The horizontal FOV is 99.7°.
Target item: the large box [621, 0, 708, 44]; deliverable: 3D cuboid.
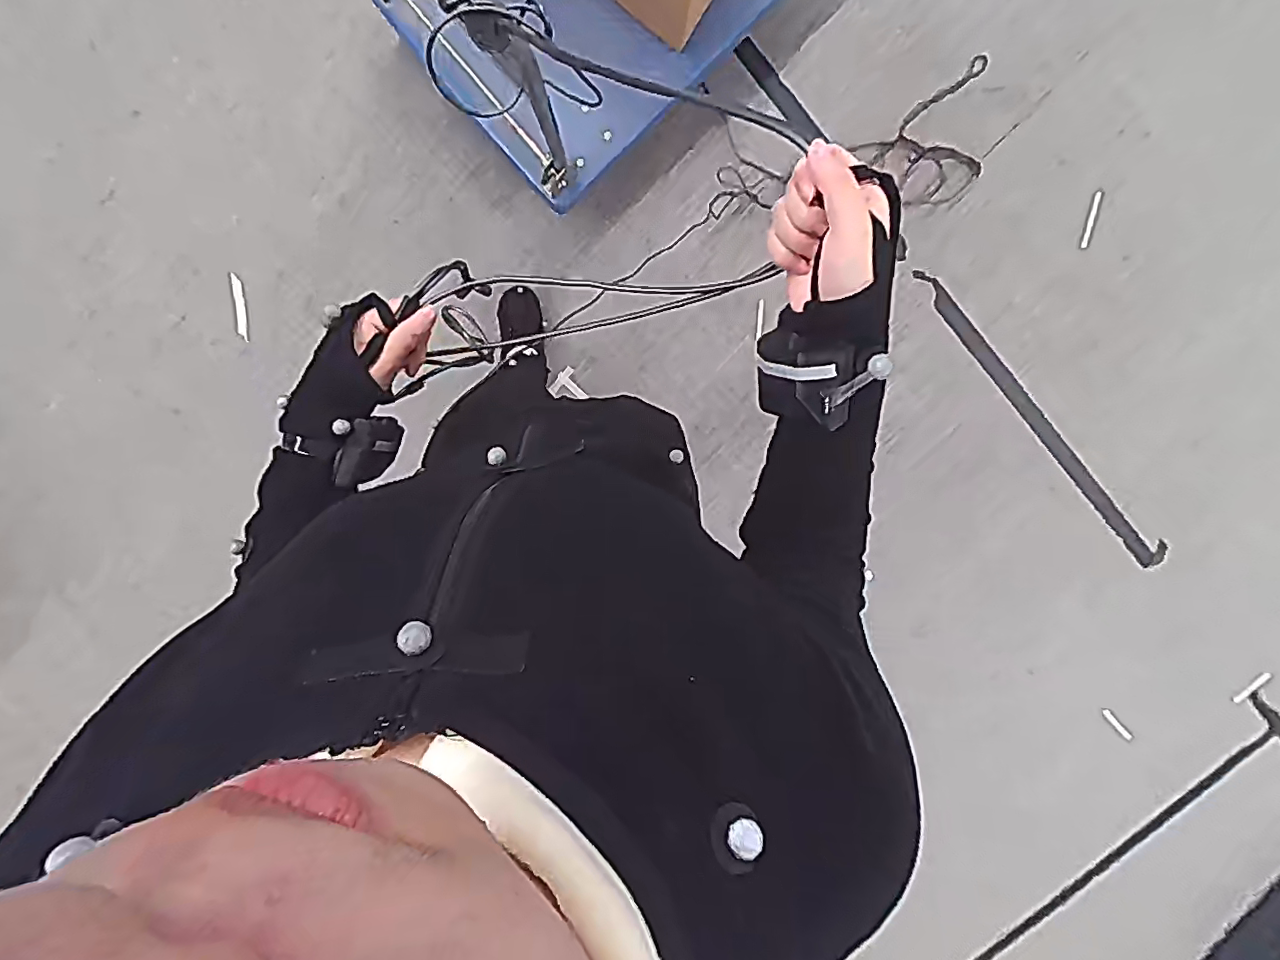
[{"bbox_3d":[0.009,-1.087,0.918,0.408,0.320,0.320,32,100,-10],"label":"large box"}]
